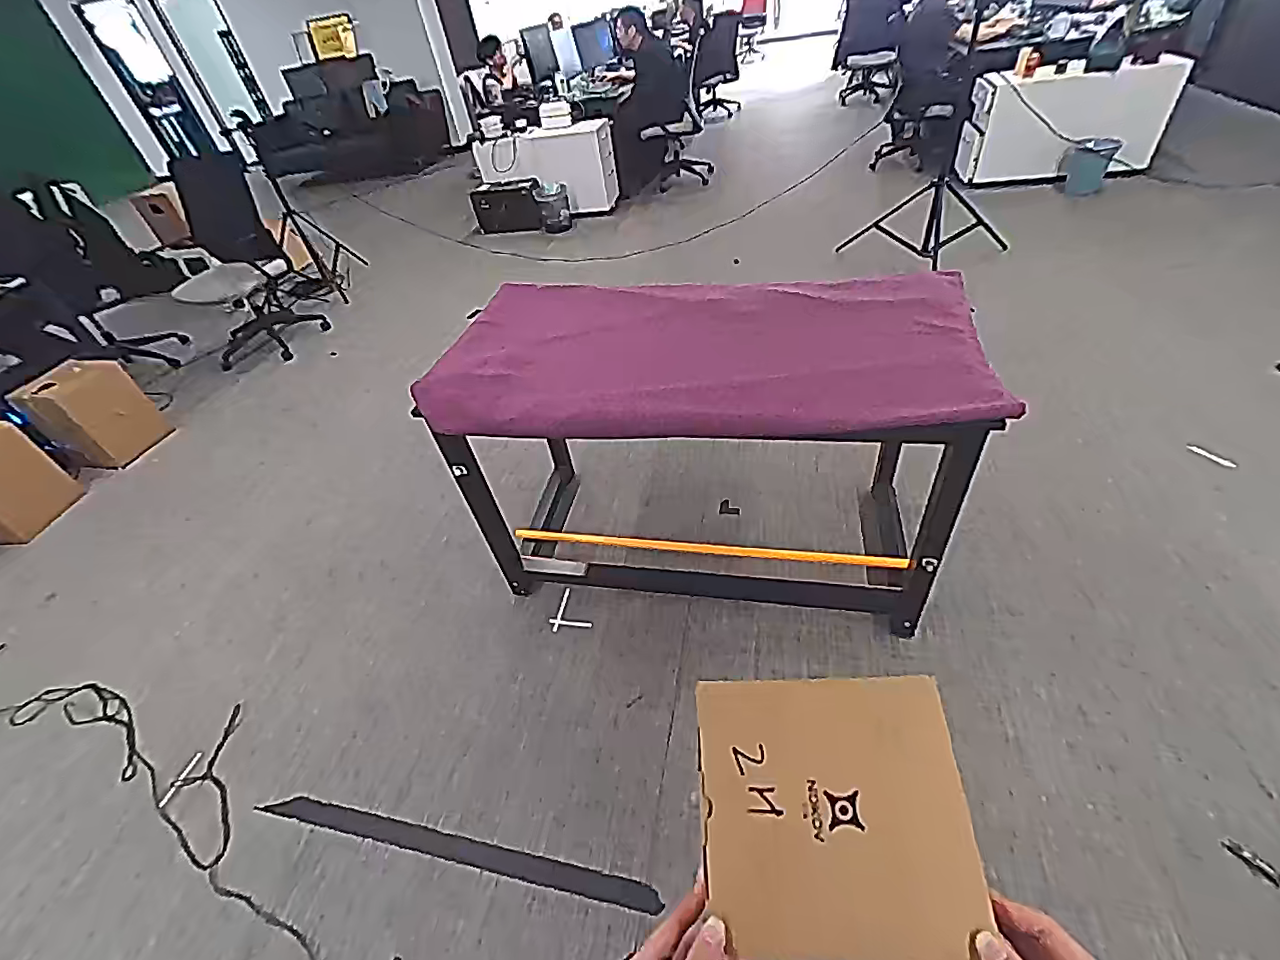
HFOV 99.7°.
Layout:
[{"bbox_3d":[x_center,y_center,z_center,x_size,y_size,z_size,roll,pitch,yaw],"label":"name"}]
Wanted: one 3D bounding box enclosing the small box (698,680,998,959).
[{"bbox_3d":[0.140,0.259,0.438,0.179,0.176,0.168,-4,61,8],"label":"small box"}]
